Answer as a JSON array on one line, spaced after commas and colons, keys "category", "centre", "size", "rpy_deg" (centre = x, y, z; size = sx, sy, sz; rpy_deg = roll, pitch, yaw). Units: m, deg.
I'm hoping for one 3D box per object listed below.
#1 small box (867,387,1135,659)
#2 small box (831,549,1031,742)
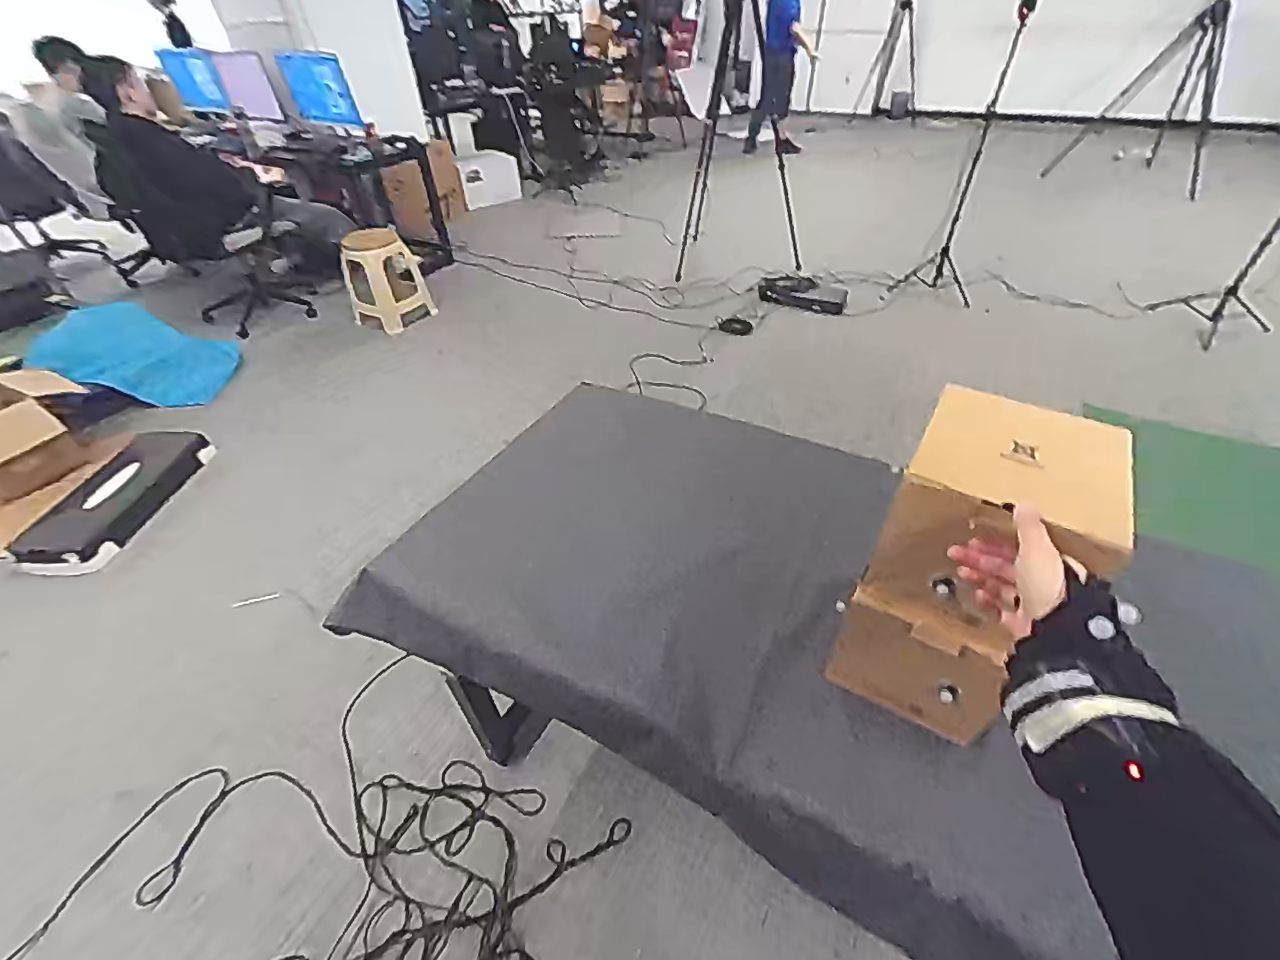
[{"category": "small box", "centre": [0.348, 0.039, 0.542], "size": [0.168, 0.176, 0.179], "rpy_deg": [23, 48, 25]}, {"category": "small box", "centre": [0.340, 0.169, 0.640], "size": [0.168, 0.176, 0.179], "rpy_deg": [22, 46, 24]}]
